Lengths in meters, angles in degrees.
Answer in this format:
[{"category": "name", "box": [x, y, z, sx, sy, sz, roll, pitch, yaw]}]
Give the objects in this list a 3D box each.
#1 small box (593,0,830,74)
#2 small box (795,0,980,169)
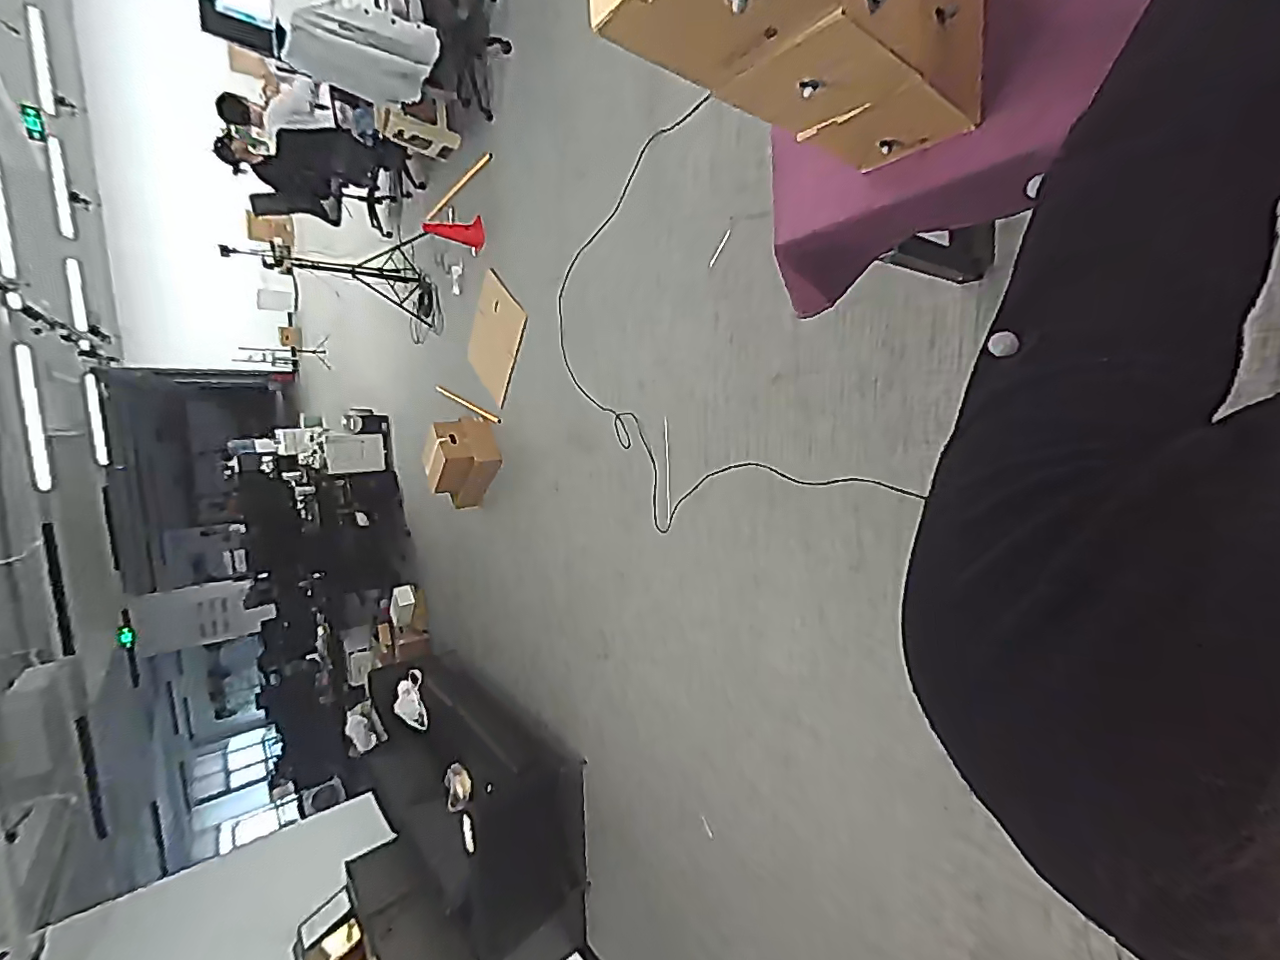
[{"category": "small box", "box": [0.069, -0.520, 0.500, 0.168, 0.176, 0.179, 8, 101, 50]}, {"category": "small box", "box": [0.322, -0.545, 0.707, 0.168, 0.176, 0.179, 6, 100, 51]}]
